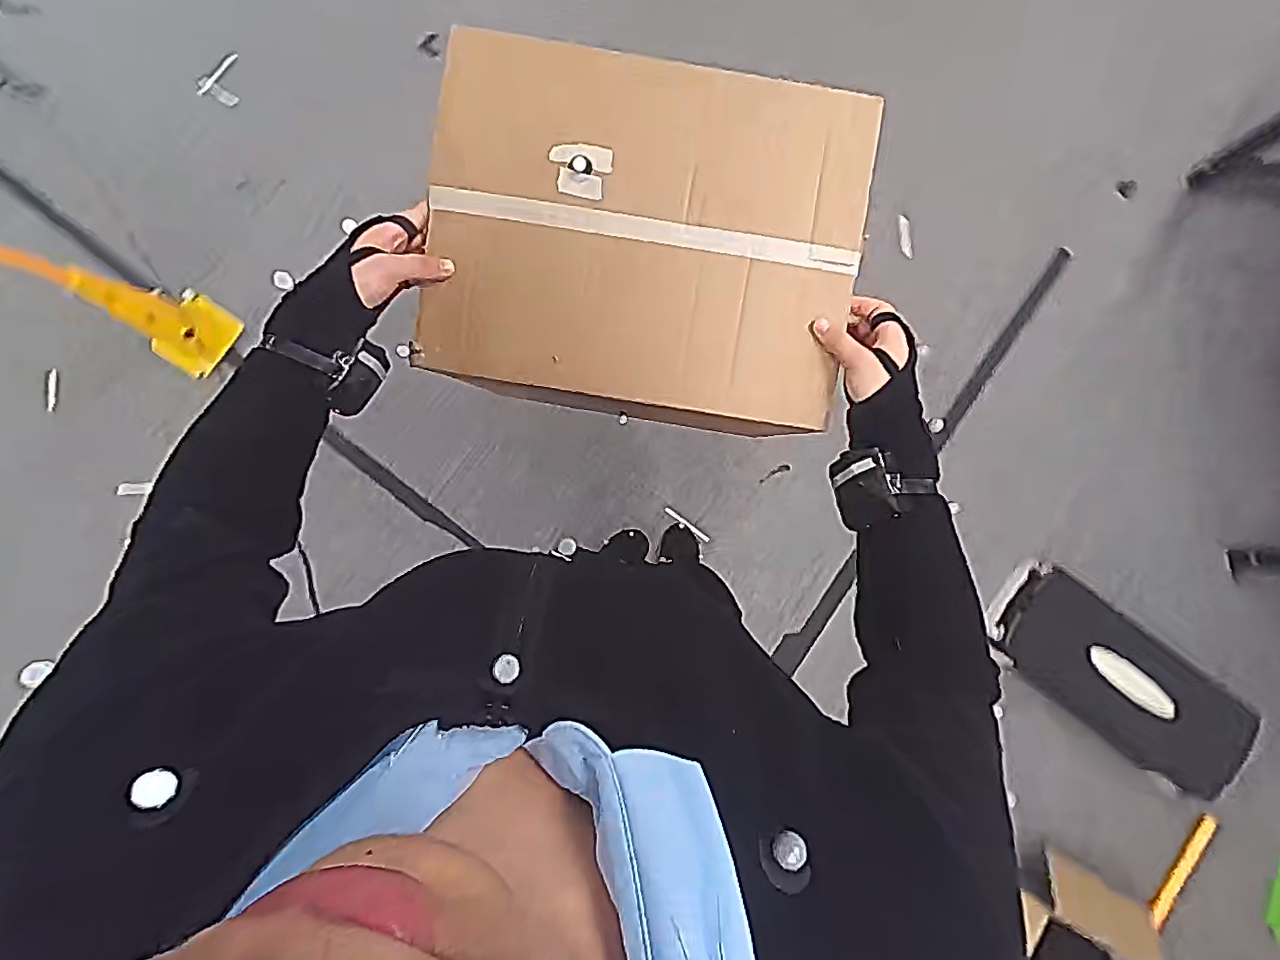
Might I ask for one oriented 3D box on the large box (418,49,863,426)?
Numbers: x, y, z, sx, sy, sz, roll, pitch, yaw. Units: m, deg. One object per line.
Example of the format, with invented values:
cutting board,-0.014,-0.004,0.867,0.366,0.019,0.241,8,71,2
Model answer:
large box,0.000,-0.243,0.665,0.408,0.320,0.320,8,92,0
